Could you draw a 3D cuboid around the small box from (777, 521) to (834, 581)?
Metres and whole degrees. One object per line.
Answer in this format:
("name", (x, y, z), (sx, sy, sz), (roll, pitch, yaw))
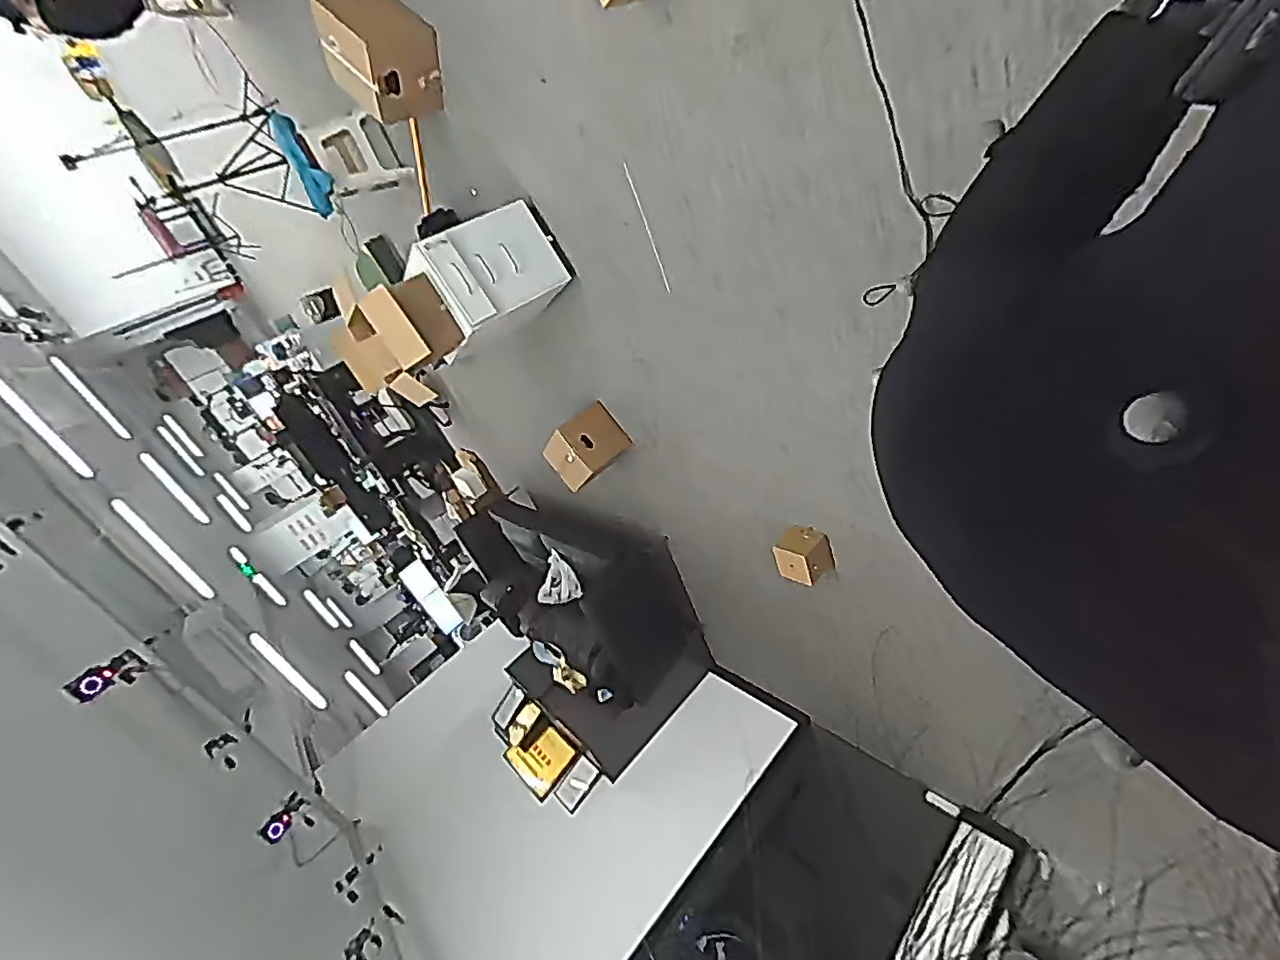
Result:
("small box", (0.738, 0.311, 2.390), (0.168, 0.176, 0.179), (14, 135, 48))

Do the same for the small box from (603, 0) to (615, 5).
("small box", (-0.024, -1.385, 1.394), (0.179, 0.176, 0.168), (4, 127, 55))
